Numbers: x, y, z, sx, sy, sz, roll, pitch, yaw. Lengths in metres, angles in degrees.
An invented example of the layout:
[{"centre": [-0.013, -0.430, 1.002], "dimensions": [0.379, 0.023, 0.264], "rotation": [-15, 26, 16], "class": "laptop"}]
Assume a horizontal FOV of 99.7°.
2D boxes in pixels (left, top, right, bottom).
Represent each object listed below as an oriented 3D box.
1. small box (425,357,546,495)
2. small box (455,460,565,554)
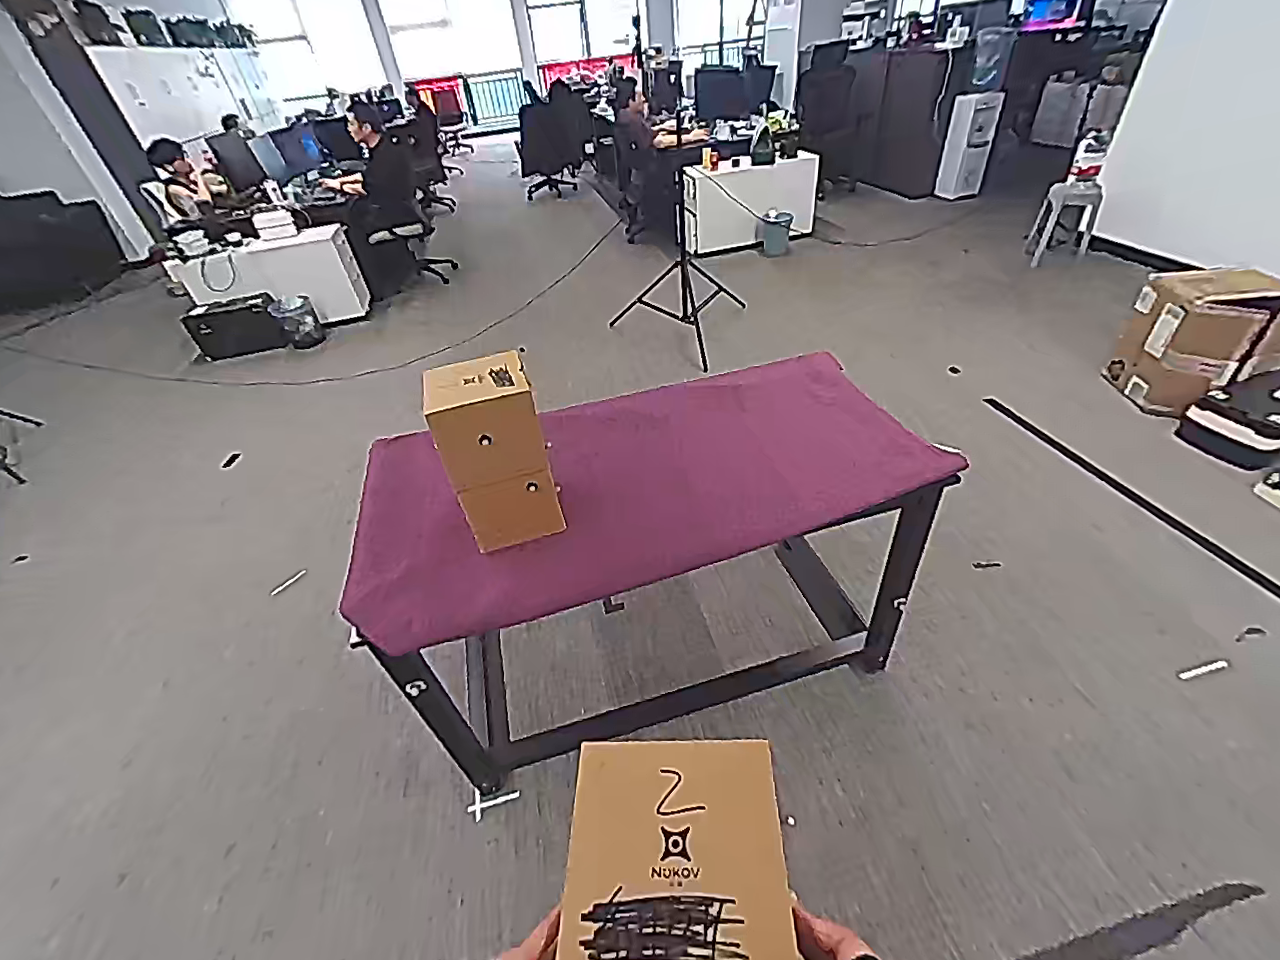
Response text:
[{"centre": [-0.277, -0.100, 0.988], "dimensions": [0.179, 0.176, 0.168], "rotation": [-16, 40, -10], "class": "small box"}, {"centre": [-0.264, 0.025, 1.095], "dimensions": [0.179, 0.176, 0.168], "rotation": [-15, 40, -11], "class": "small box"}]
